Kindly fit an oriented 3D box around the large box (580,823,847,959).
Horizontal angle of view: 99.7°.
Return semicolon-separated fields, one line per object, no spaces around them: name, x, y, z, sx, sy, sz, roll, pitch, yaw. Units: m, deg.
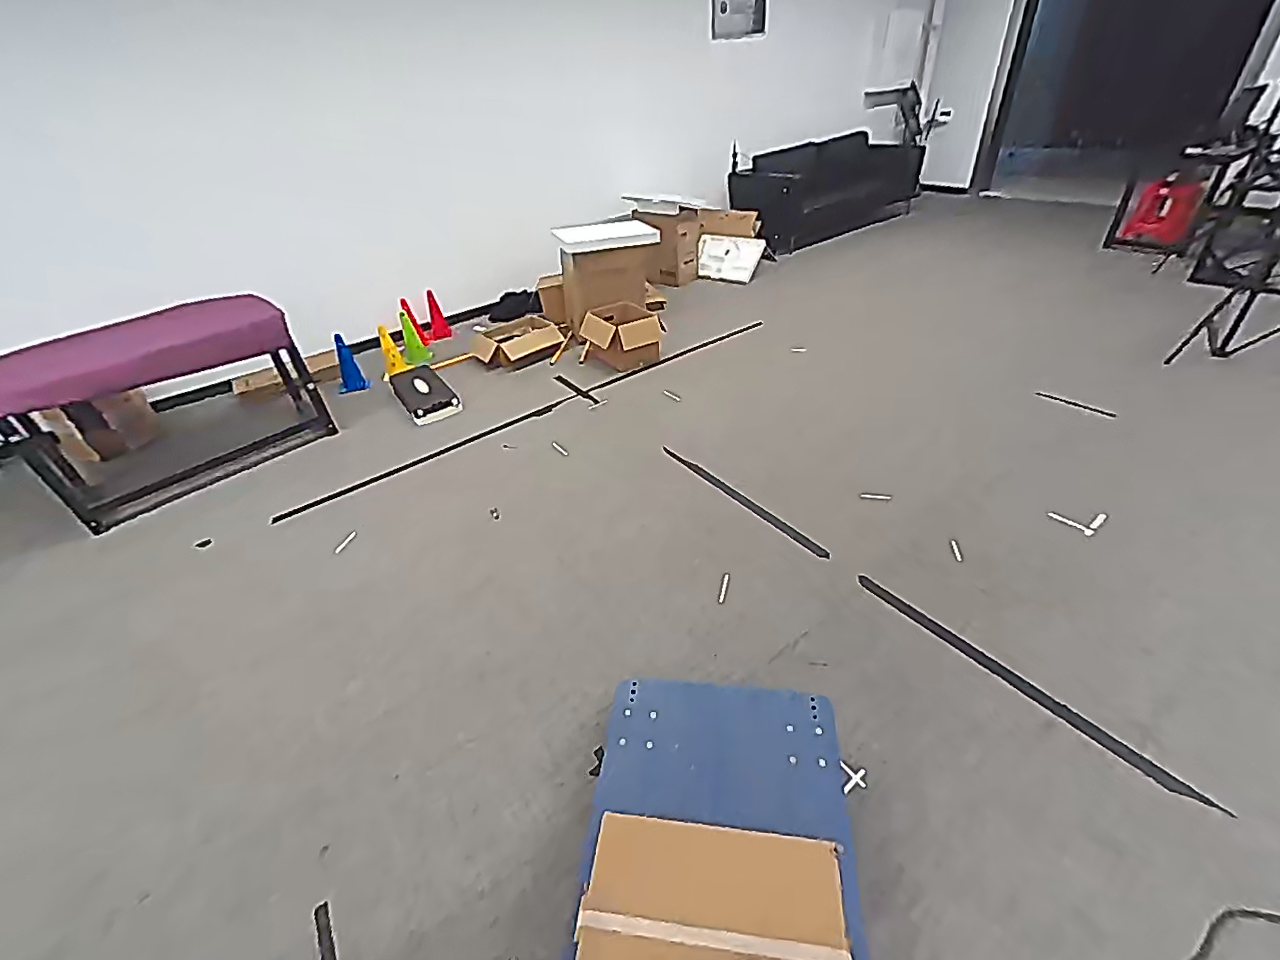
large box;0.118;0.828;0.907;0.408;0.320;0.320;2;38;9
